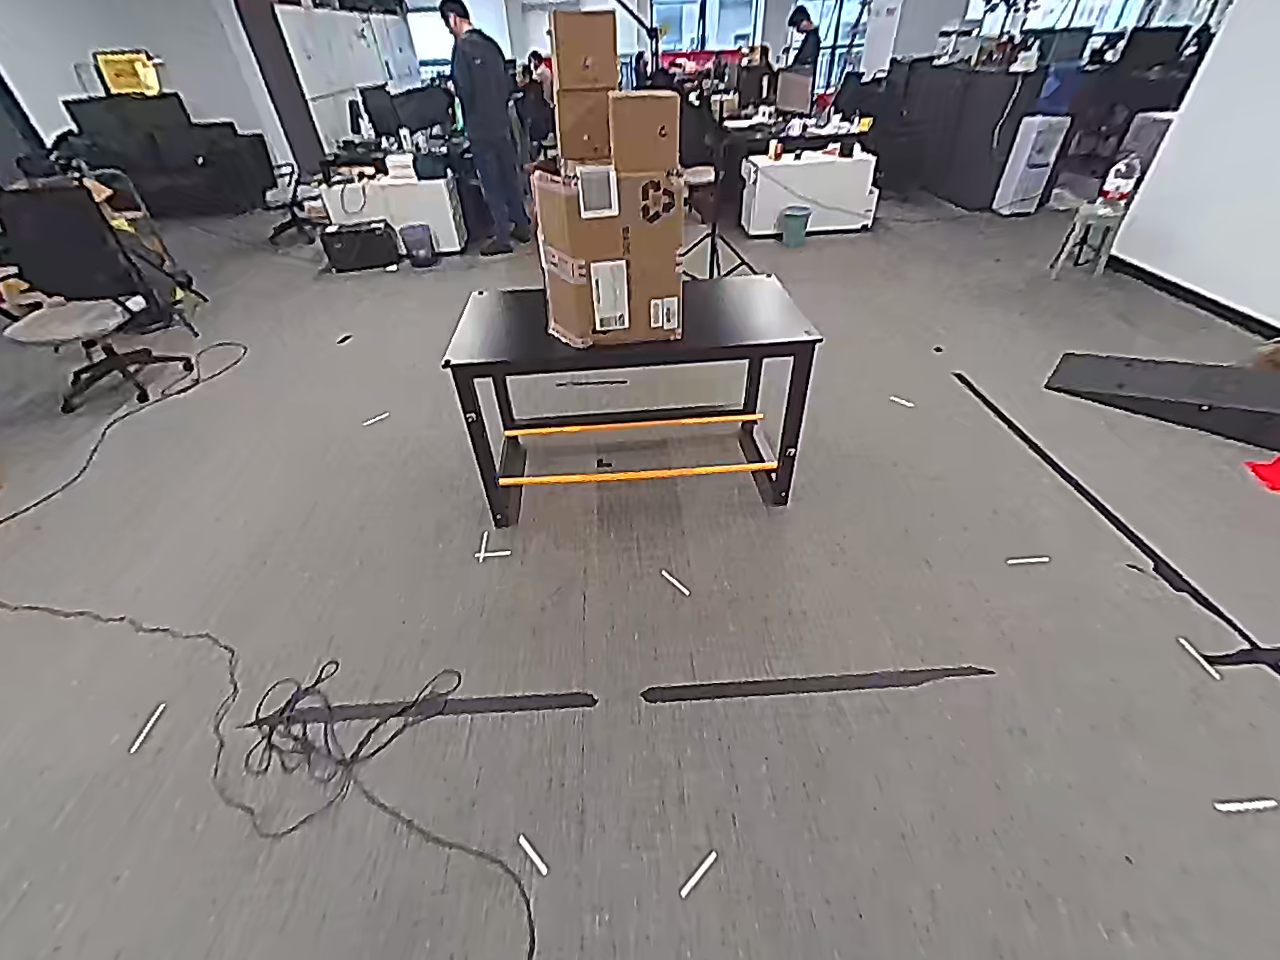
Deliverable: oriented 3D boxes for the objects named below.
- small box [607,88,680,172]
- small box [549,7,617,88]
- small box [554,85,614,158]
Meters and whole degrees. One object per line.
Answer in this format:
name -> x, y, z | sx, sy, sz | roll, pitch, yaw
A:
small box -> 0.007, -0.944, 1.459 | 0.179, 0.176, 0.168 | -6, 40, -4
small box -> -0.160, -1.195, 1.501 | 0.168, 0.176, 0.179 | -8, 38, -8
small box -> -0.165, -1.069, 1.609 | 0.168, 0.176, 0.179 | -7, 39, -7
